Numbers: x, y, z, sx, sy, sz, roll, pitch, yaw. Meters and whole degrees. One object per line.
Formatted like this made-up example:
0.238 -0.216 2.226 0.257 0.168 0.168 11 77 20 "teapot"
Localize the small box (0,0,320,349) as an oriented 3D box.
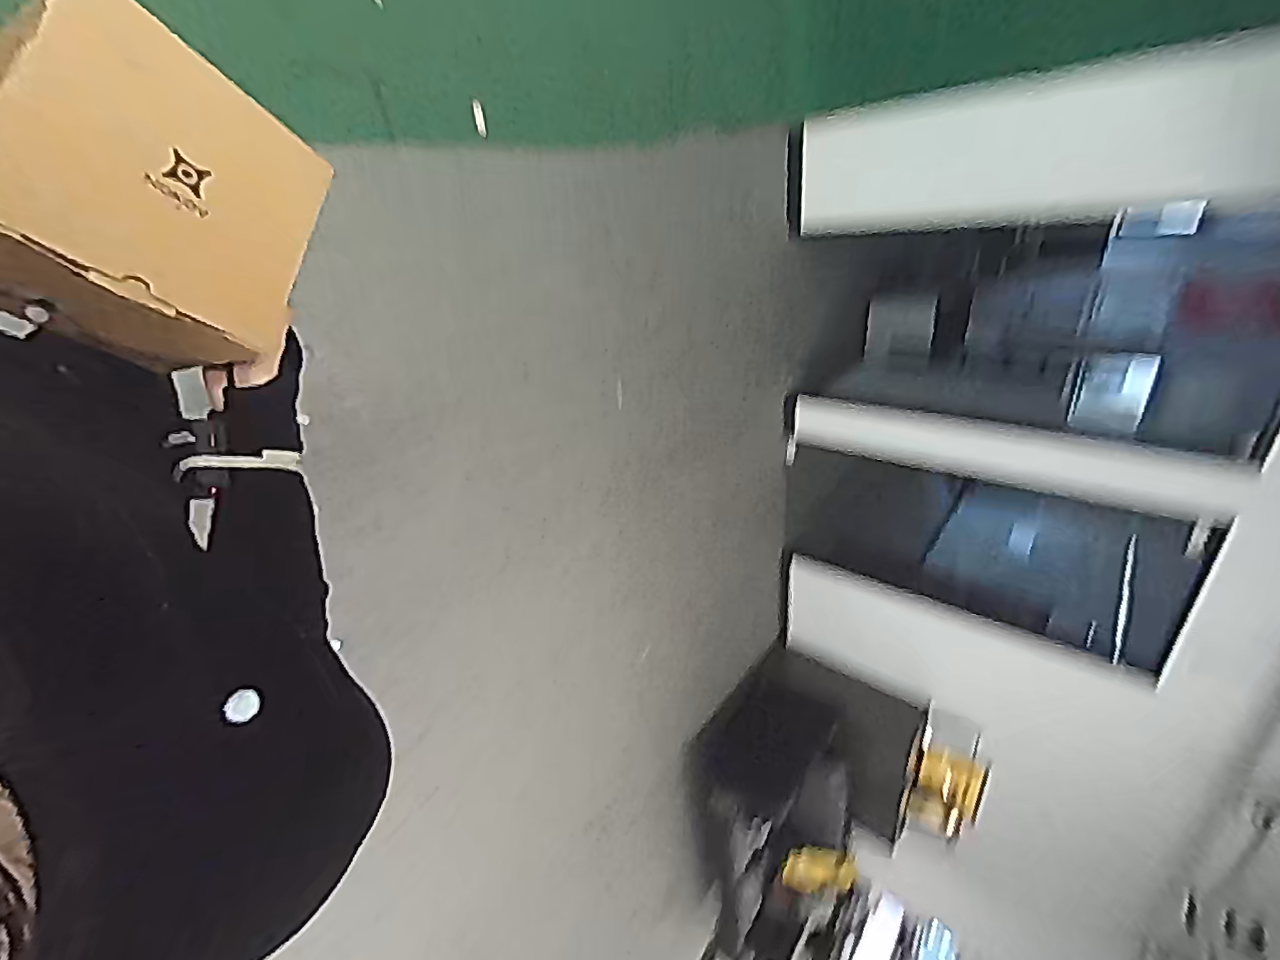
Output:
-0.376 -0.212 0.385 0.168 0.176 0.179 31 64 -59 "small box"
